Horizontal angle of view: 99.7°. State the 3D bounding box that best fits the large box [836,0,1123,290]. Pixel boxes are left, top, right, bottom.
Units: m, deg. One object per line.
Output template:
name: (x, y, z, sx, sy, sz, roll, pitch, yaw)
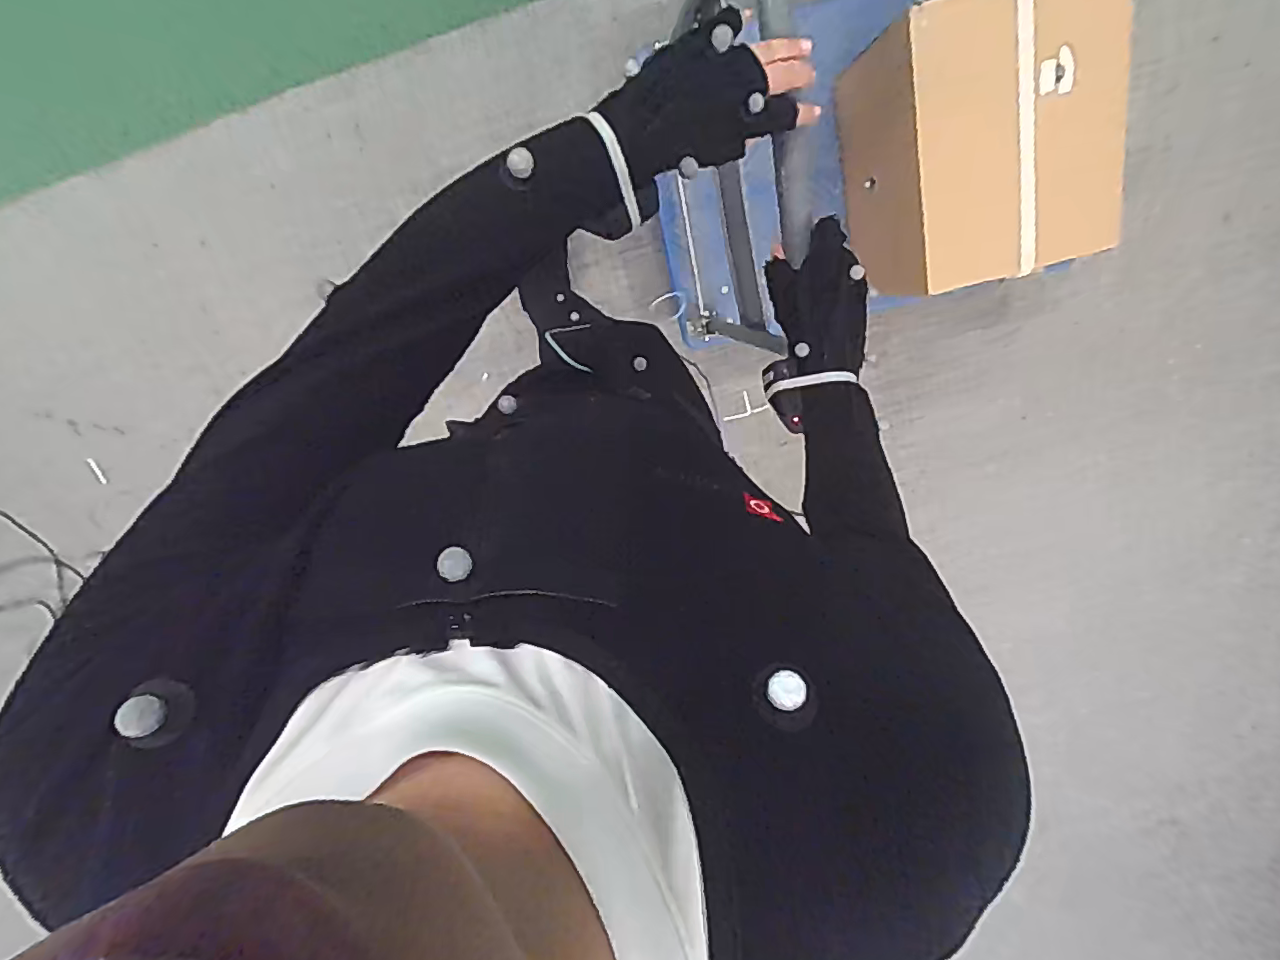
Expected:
large box: (0.575, -0.584, 0.963, 0.320, 0.320, 0.408, -14, 109, 4)
